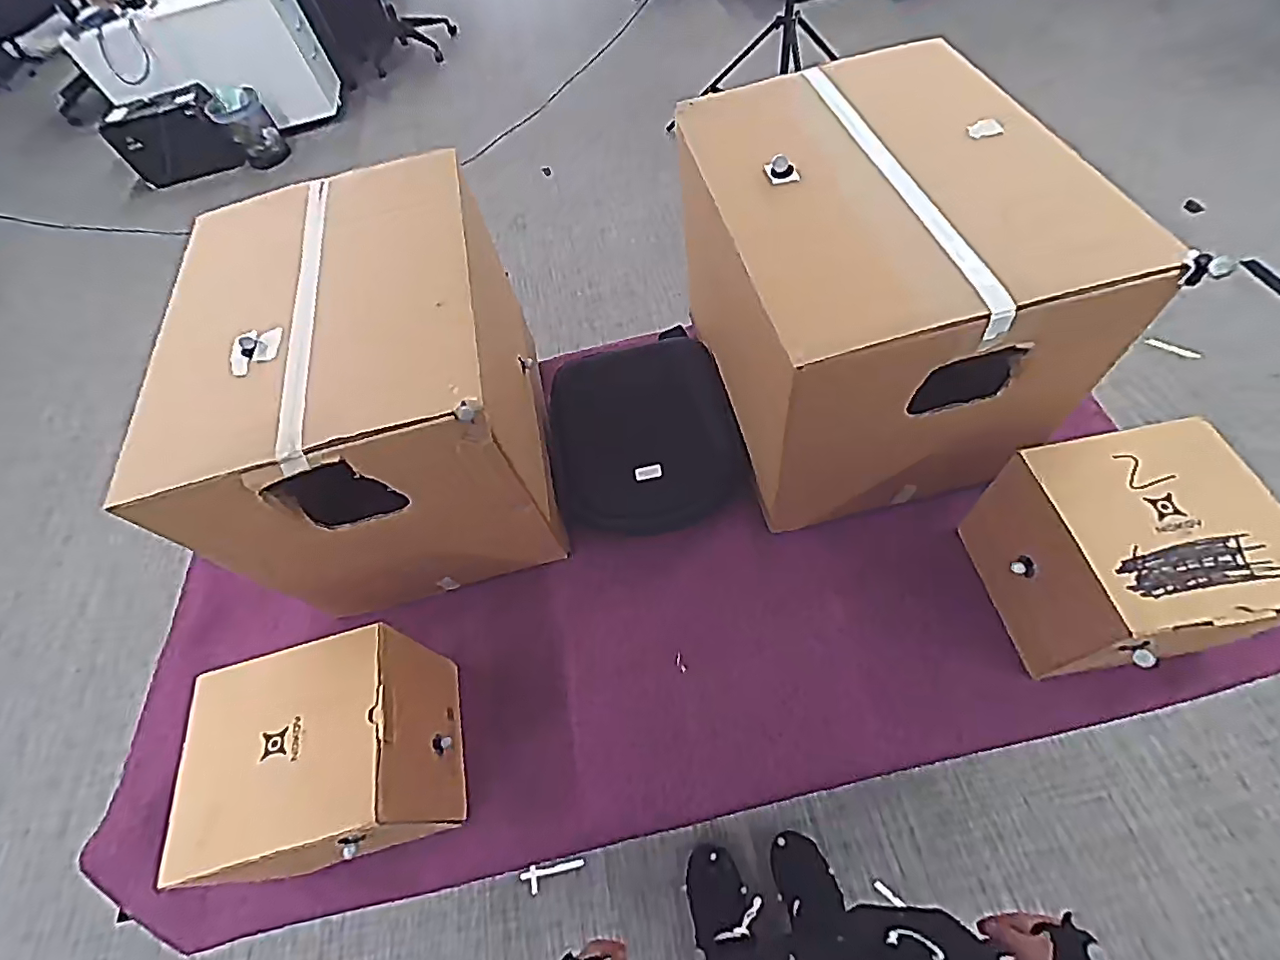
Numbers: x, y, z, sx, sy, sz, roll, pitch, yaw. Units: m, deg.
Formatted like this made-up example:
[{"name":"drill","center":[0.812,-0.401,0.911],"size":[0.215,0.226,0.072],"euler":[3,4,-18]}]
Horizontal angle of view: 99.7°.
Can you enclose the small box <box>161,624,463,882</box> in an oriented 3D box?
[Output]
[{"name":"small box","center":[-0.294,0.266,0.526],"size":[0.179,0.176,0.168],"euler":[-16,57,-3]}]

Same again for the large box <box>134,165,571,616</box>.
[{"name":"large box","center":[-0.297,-0.098,0.666],"size":[0.320,0.320,0.408],"euler":[-16,60,0]}]
